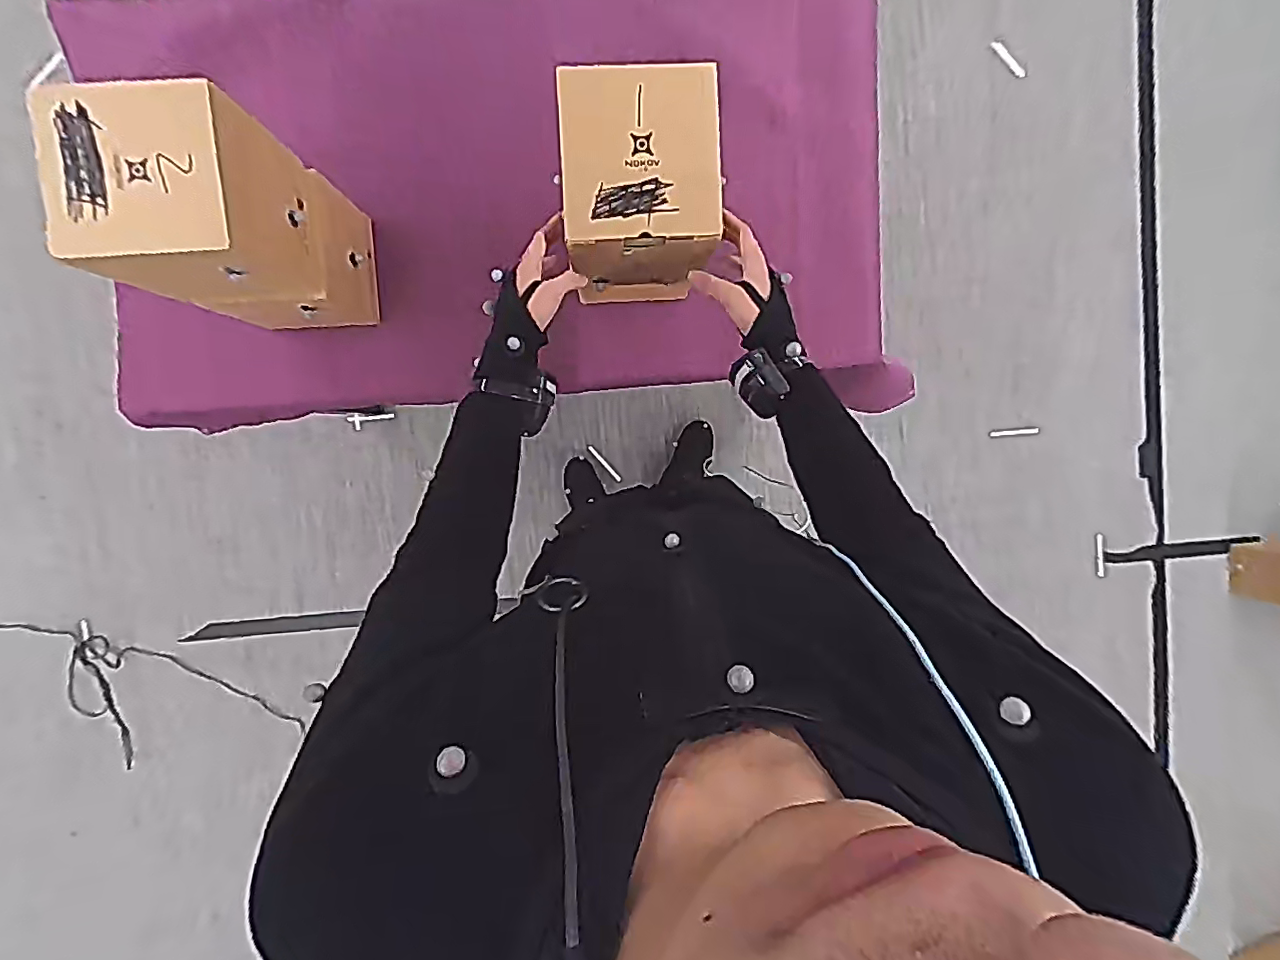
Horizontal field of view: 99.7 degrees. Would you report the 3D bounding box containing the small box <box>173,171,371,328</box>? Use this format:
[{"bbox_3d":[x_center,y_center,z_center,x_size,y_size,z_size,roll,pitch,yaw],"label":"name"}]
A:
[{"bbox_3d":[-0.504,-0.317,0.772,0.179,0.176,0.168,-3,95,-2],"label":"small box"}]

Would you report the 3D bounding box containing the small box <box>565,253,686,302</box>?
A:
[{"bbox_3d":[-0.018,-0.365,0.791,0.179,0.176,0.168,-4,95,-3],"label":"small box"}]

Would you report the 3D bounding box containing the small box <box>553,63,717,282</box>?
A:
[{"bbox_3d":[-0.006,-0.338,0.629,0.168,0.176,0.179,-3,94,-3],"label":"small box"}]
